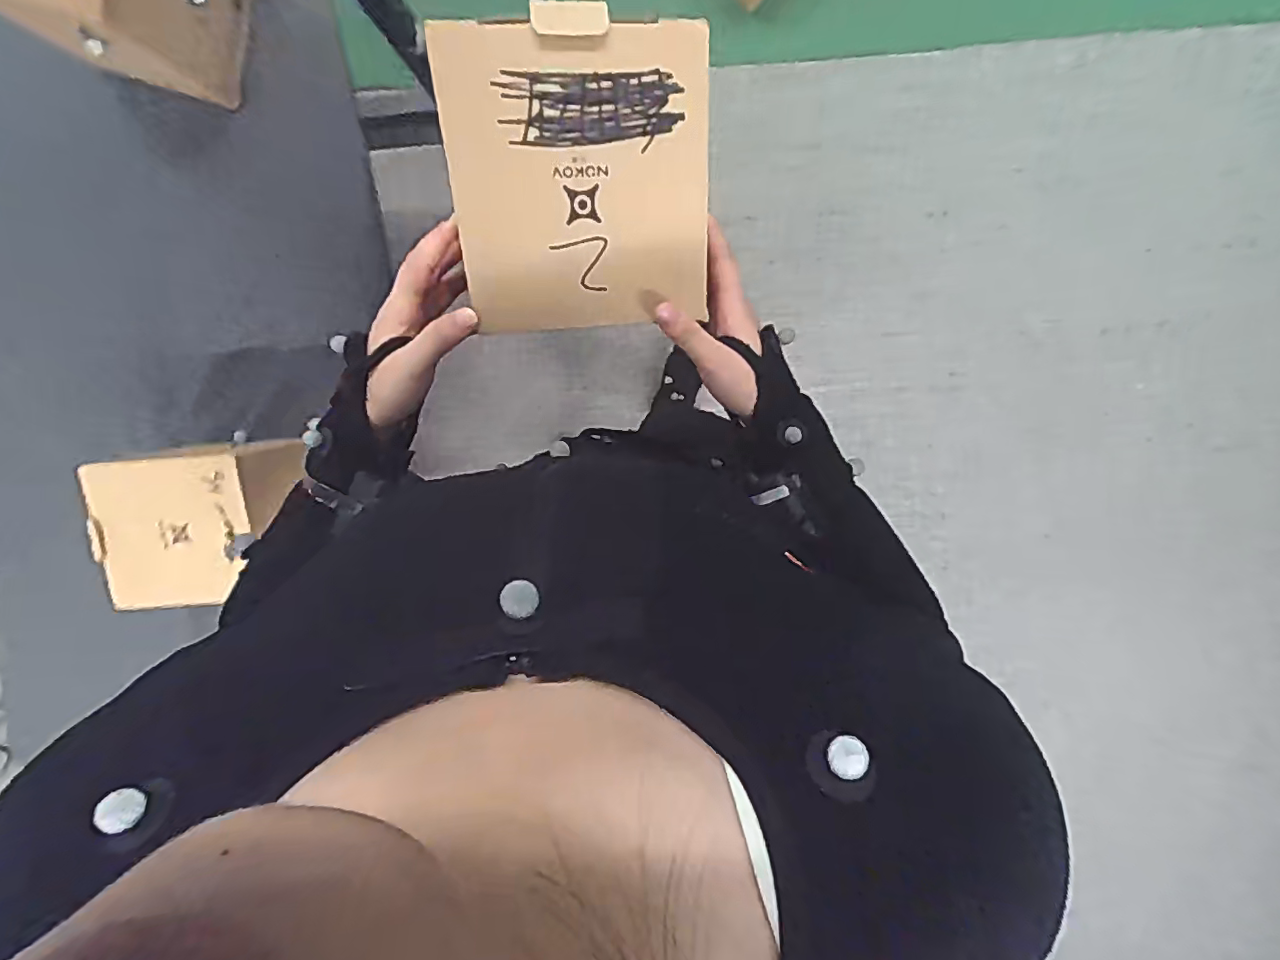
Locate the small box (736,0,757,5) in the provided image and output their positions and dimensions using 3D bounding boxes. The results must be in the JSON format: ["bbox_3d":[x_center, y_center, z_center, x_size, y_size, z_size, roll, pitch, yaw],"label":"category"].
[{"bbox_3d":[0.243,-1.187,1.162,0.179,0.176,0.168,41,99,-7],"label":"small box"}]

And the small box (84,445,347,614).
[{"bbox_3d":[-0.502,0.052,0.667,0.179,0.176,0.168,-4,101,2],"label":"small box"}]

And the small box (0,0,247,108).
[{"bbox_3d":[-0.542,-0.516,0.546,0.179,0.176,0.168,16,101,-1],"label":"small box"}]
